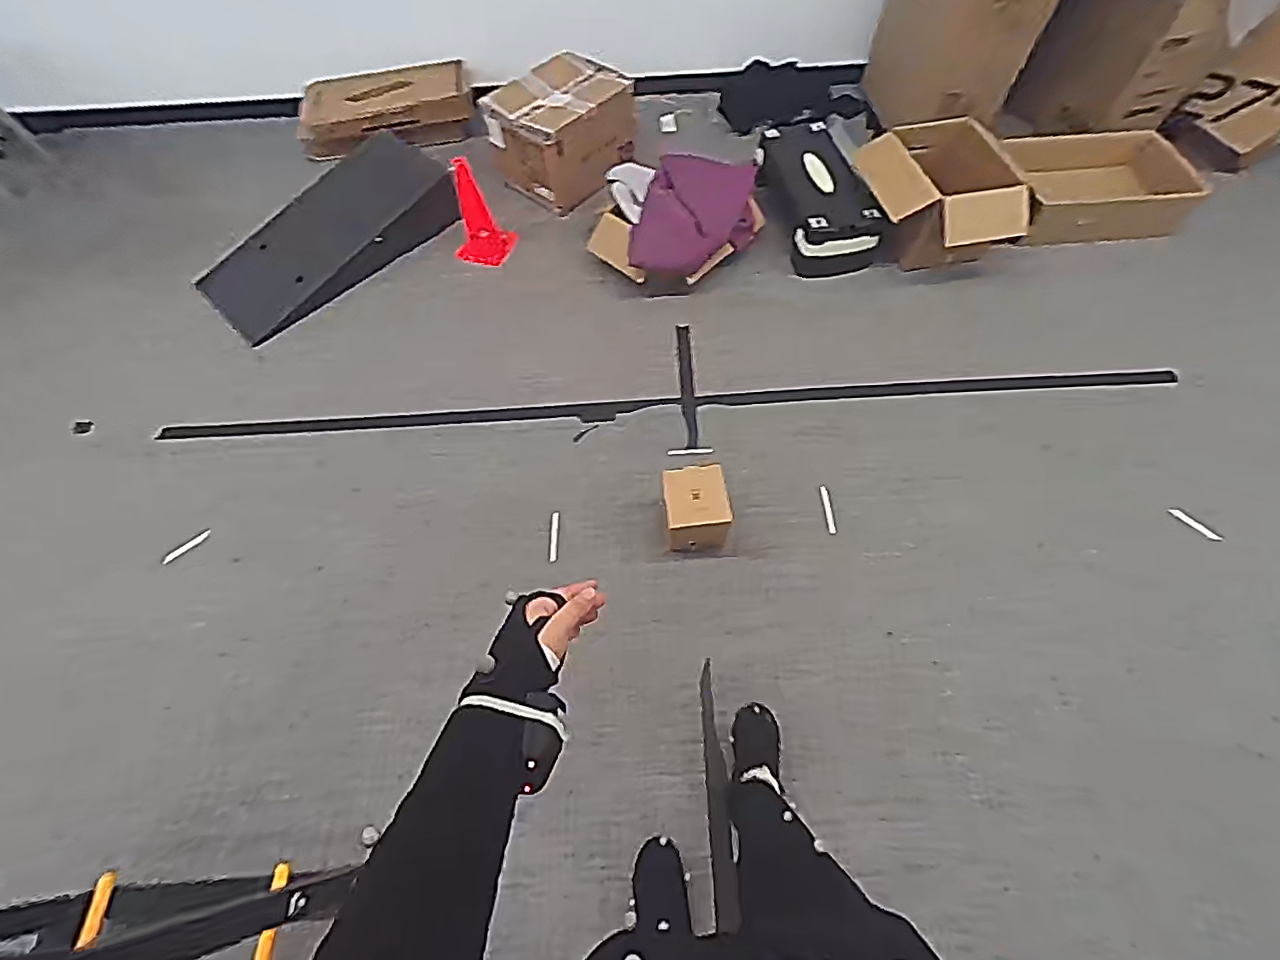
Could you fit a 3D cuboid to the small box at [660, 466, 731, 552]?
[{"bbox_3d":[0.147,0.083,1.500,0.168,0.176,0.179,-7,62,-1],"label":"small box"}]
